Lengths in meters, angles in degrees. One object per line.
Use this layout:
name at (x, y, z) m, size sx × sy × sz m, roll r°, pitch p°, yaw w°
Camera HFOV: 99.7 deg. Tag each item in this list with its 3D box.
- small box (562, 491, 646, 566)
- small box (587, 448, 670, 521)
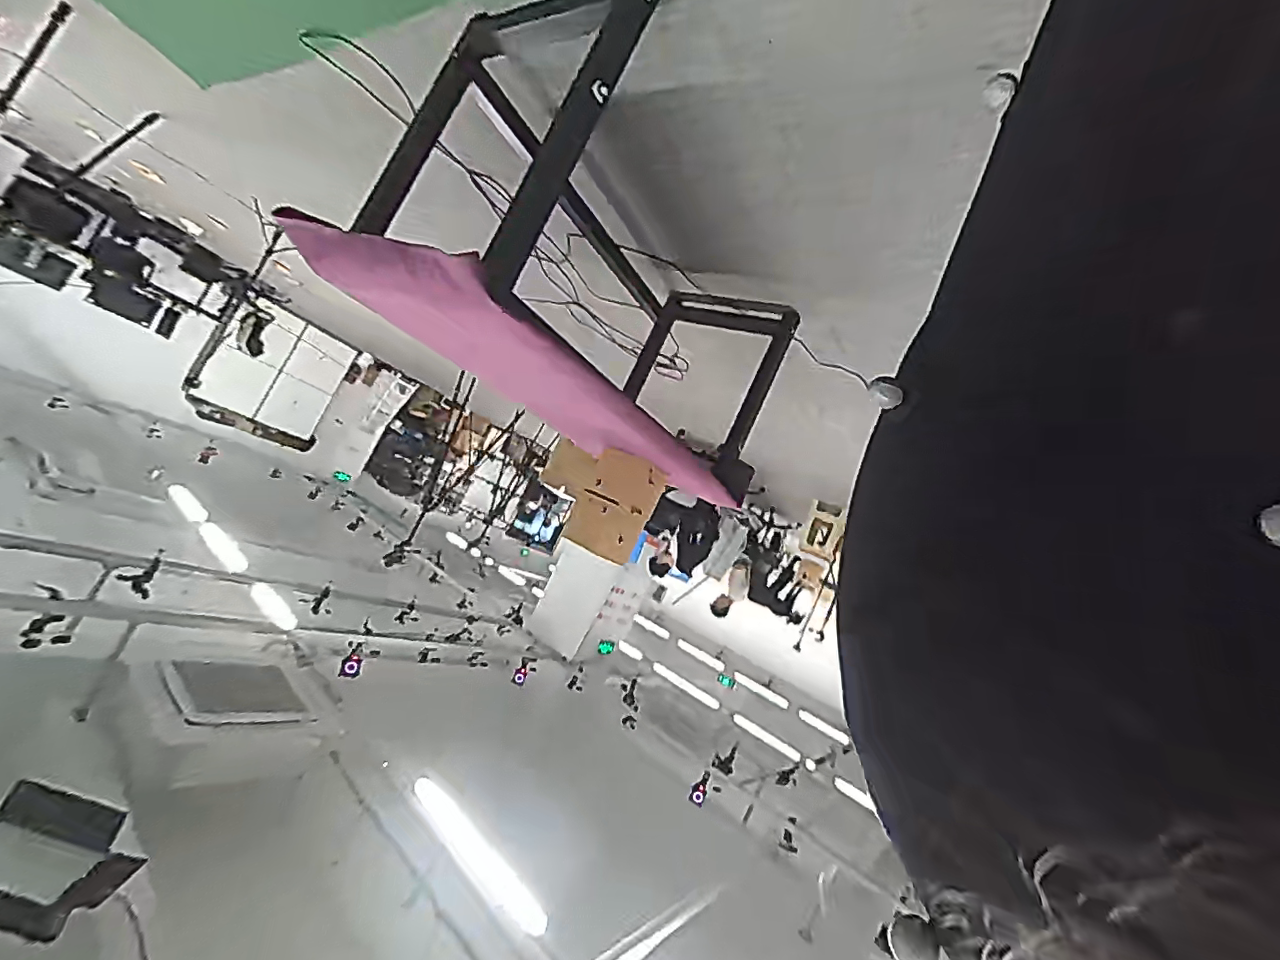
small box at (-0.114, 0.154, 1.762) m, size 0.168 × 0.176 × 0.179 m, roll 24°, pitch 174°, yaw 39°
small box at (-0.034, 0.009, 1.782) m, size 0.179 × 0.176 × 0.168 m, roll 21°, pitch 173°, yaw 41°
